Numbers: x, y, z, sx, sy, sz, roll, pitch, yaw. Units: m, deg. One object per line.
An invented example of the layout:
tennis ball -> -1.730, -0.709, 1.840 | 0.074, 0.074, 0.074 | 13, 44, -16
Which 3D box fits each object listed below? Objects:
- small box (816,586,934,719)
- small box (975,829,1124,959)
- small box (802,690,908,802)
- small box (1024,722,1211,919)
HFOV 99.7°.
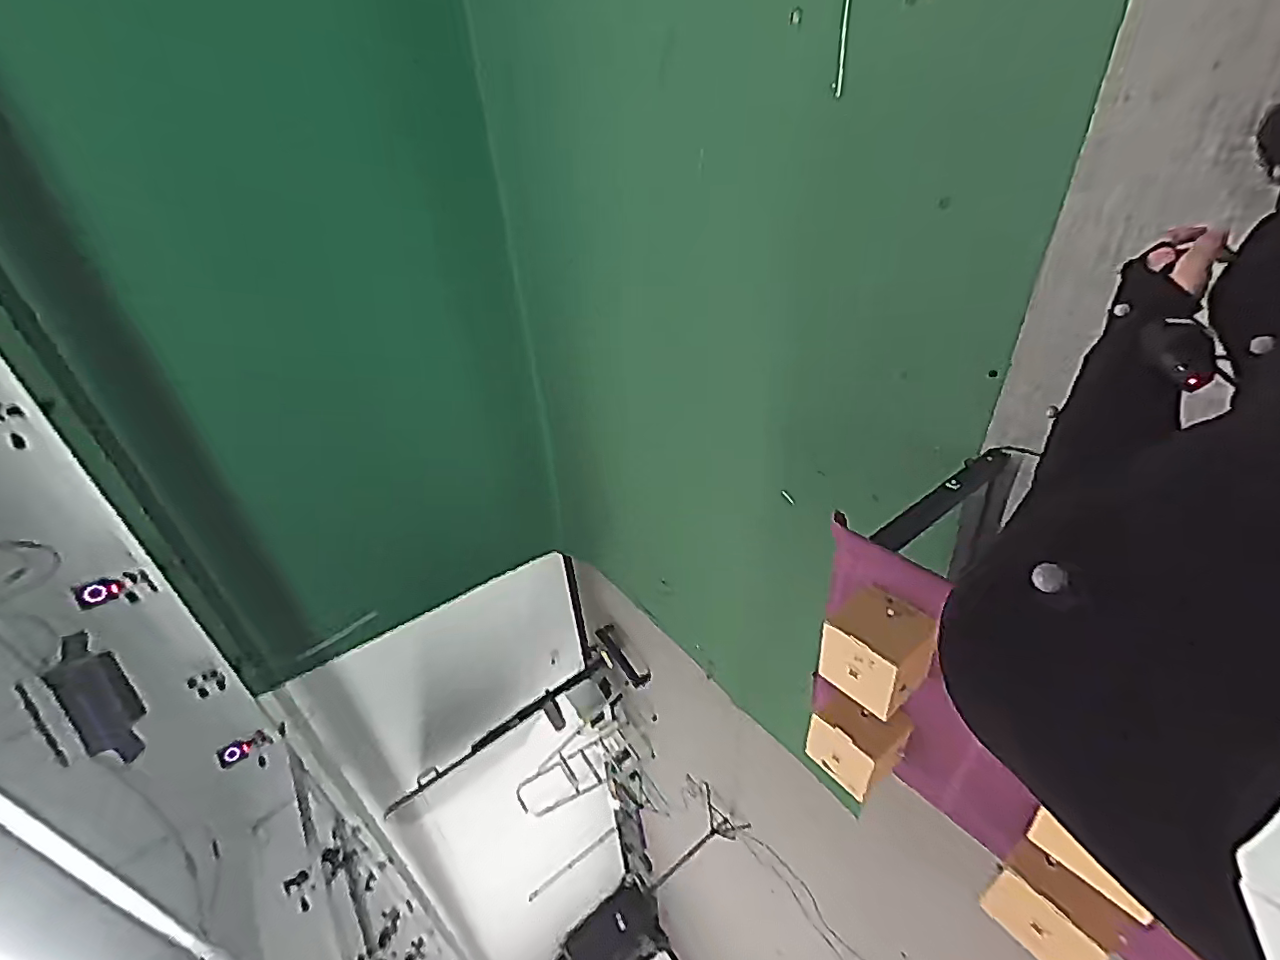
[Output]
small box -> 0.506, 0.366, 1.170 | 0.168, 0.176, 0.179 | 30, 137, 43
small box -> 0.792, 0.794, 1.038 | 0.168, 0.176, 0.179 | 36, 139, 42
small box -> 0.530, 0.634, 1.335 | 0.168, 0.176, 0.179 | 33, 135, 43
small box -> 0.771, 0.543, 0.880 | 0.168, 0.176, 0.179 | 30, 136, 46
